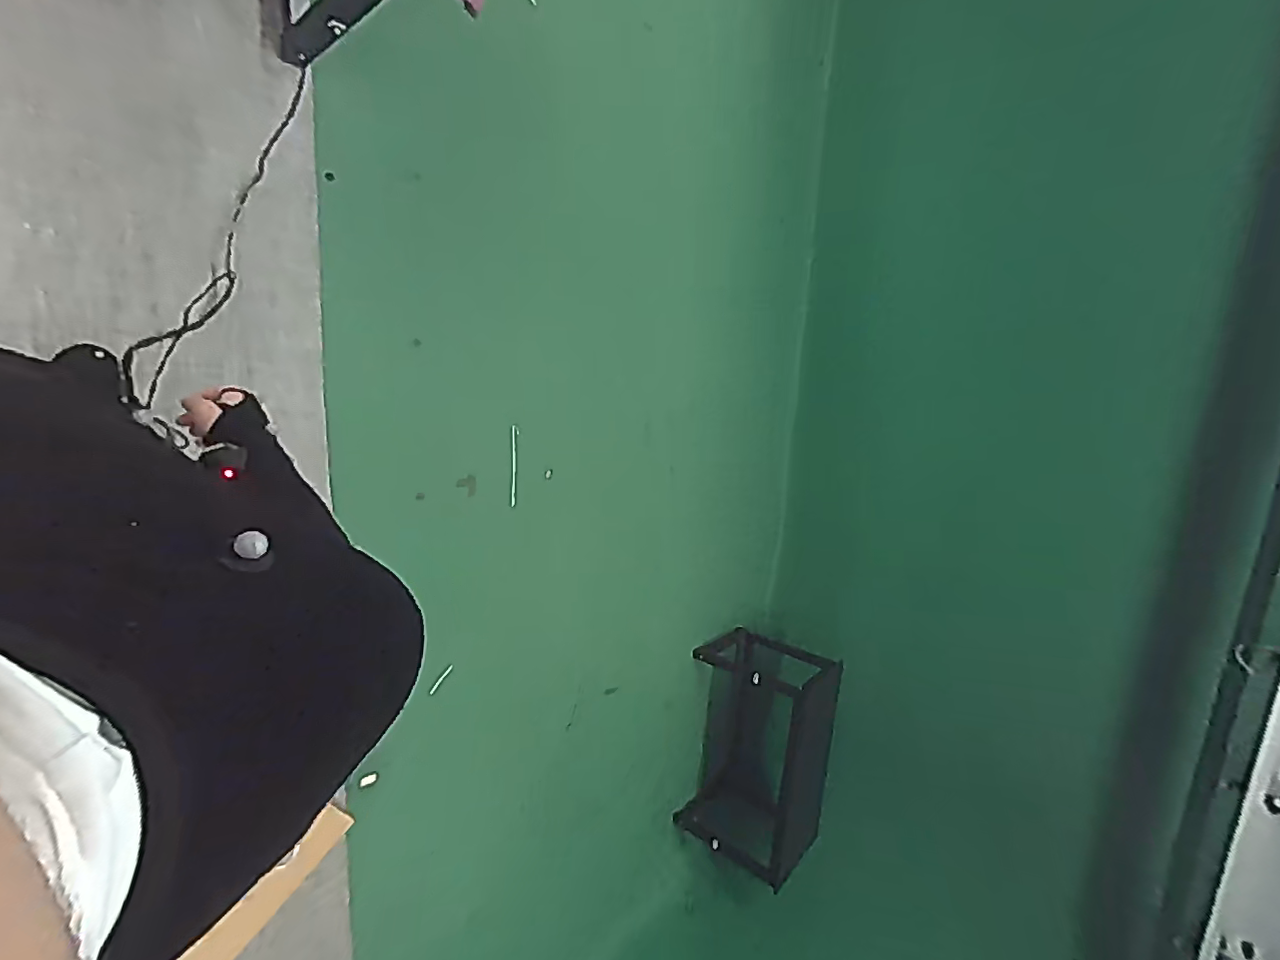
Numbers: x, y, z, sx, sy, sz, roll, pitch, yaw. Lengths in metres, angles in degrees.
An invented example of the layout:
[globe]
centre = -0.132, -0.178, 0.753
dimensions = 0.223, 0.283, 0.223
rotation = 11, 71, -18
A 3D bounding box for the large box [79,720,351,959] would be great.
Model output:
[large box]
centre = -1.058, 0.914, 1.374
dimensions = 0.408, 0.320, 0.320
rotation = -49, 134, -33
